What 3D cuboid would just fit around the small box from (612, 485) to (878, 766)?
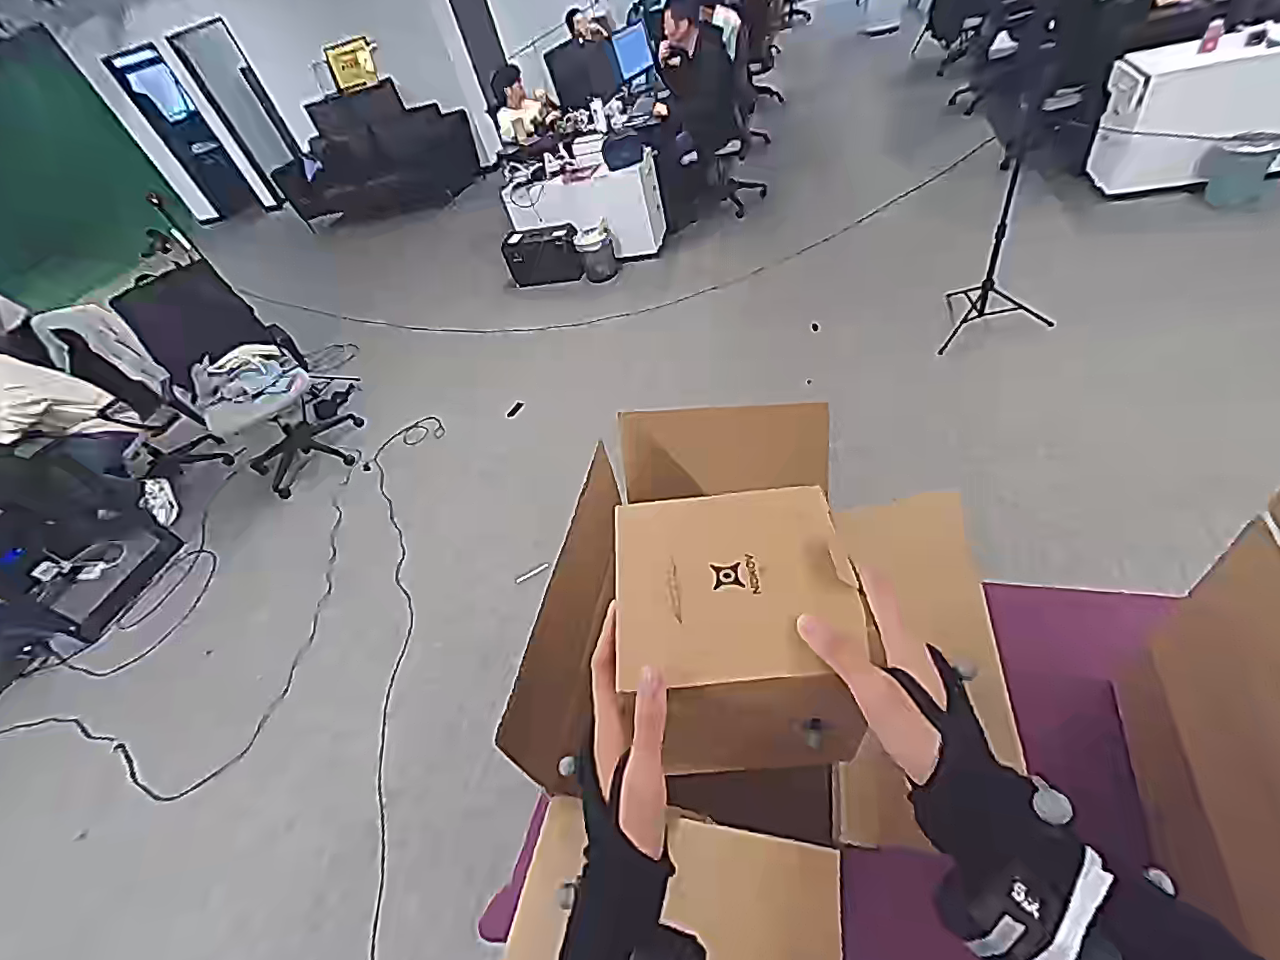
[{"bbox_3d":[0.076,0.127,0.463,0.179,0.176,0.168,-7,43,5],"label":"small box"}]
